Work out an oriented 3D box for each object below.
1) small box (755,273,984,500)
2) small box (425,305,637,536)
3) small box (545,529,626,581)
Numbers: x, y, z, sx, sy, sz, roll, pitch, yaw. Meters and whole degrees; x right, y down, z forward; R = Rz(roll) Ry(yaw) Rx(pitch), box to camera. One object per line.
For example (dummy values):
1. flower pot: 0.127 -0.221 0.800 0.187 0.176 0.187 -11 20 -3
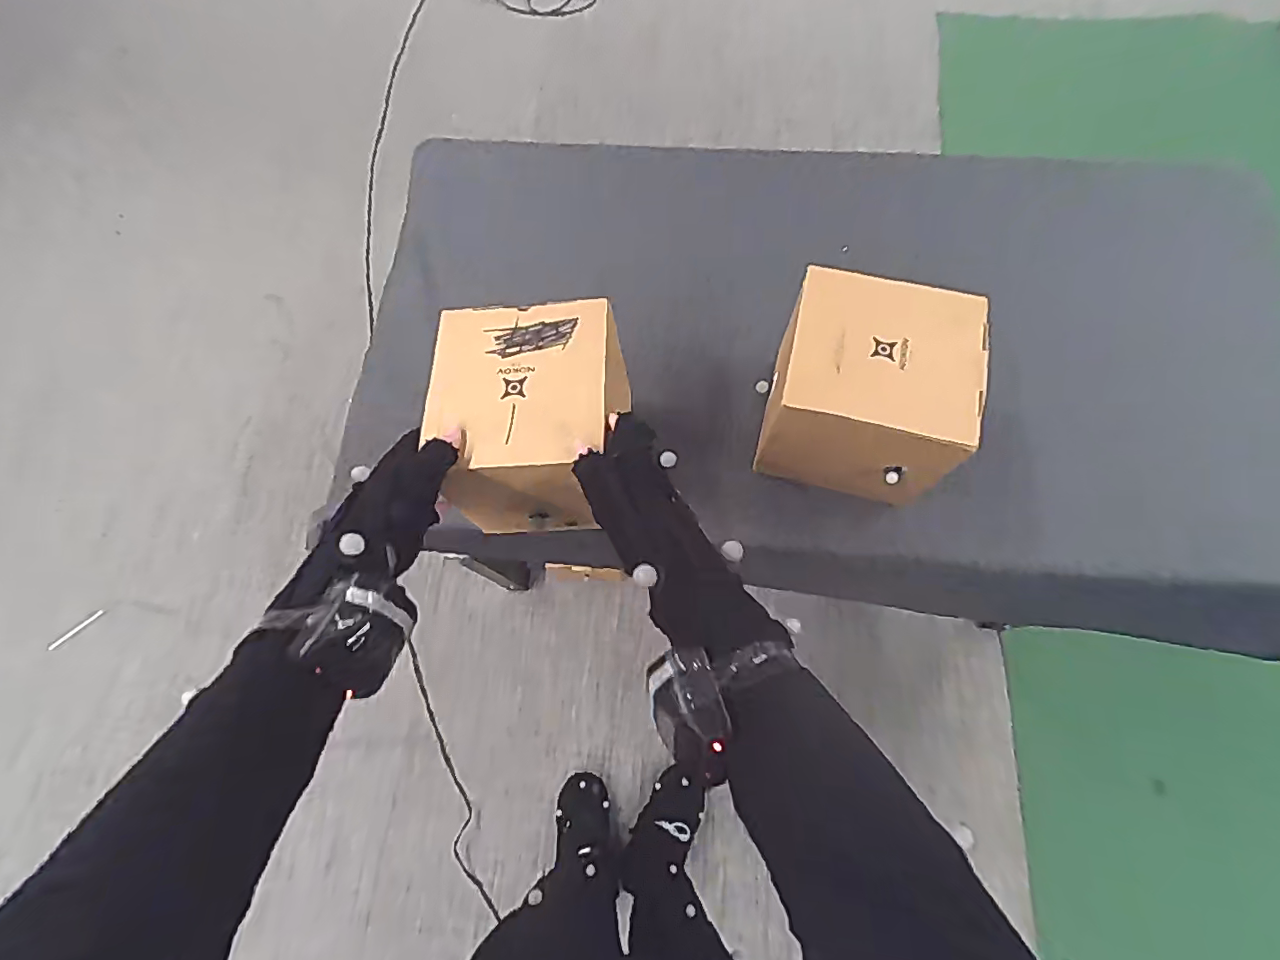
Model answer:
1. small box: 0.236 -0.089 0.587 0.179 0.176 0.168 13 70 7
2. small box: -0.095 -0.052 0.557 0.168 0.176 0.179 -3 67 5
3. small box: -0.122 0.143 1.287 0.168 0.176 0.179 1 71 2
